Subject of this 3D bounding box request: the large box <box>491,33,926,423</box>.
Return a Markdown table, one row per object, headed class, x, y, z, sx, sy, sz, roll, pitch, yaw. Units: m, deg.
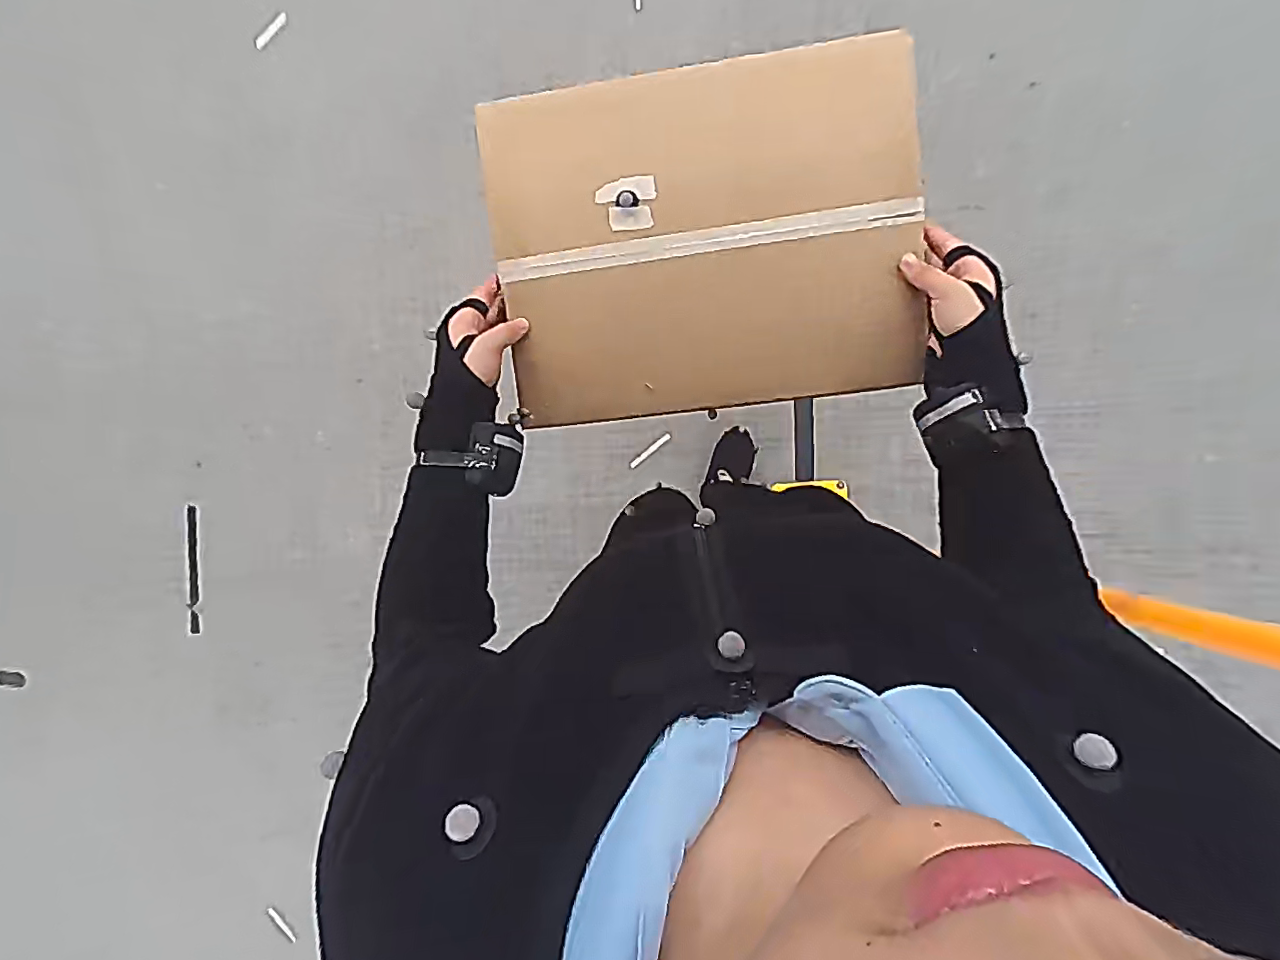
| class | x | y | z | sx | sy | sz | roll | pitch | yaw |
| --- | --- | --- | --- | --- | --- | --- | --- | --- | --- |
| large box | 0.081 | -0.256 | 0.677 | 0.408 | 0.320 | 0.320 | -6 | 97 | 6 |
